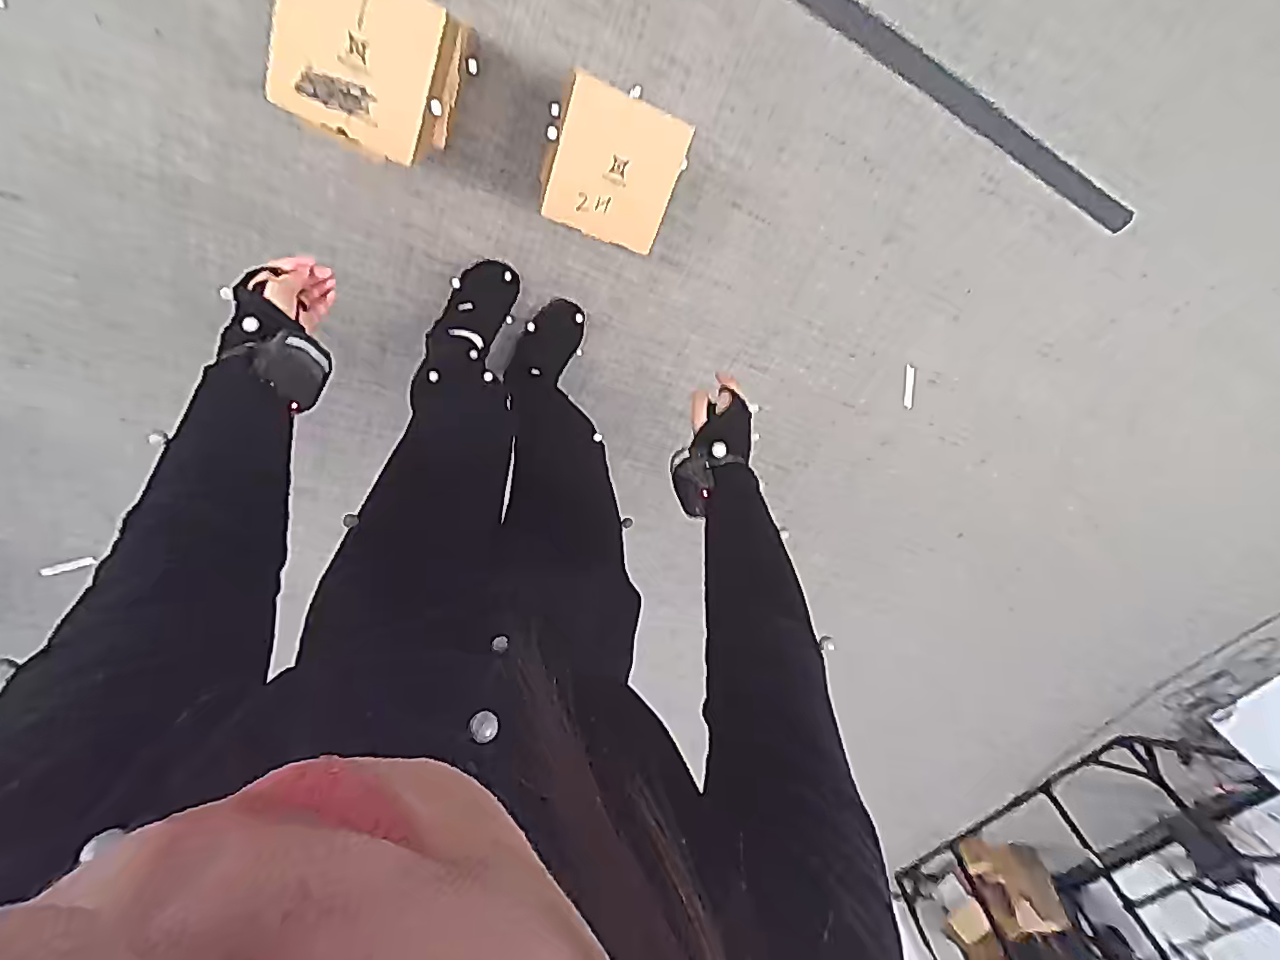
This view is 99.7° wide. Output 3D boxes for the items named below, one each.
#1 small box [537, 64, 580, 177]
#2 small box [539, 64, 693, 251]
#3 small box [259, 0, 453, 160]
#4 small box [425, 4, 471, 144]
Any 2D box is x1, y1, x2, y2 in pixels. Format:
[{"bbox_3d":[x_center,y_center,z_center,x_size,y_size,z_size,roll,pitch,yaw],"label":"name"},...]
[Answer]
[{"bbox_3d":[-0.066,-0.573,0.916,0.179,0.176,0.168,15,122,-22],"label":"small box"},{"bbox_3d":[-0.047,-0.469,0.788,0.168,0.176,0.179,14,124,-19],"label":"small box"},{"bbox_3d":[-0.343,-0.540,0.677,0.168,0.176,0.179,17,121,-23],"label":"small box"},{"bbox_3d":[-0.361,-0.638,0.808,0.179,0.176,0.168,15,123,-21],"label":"small box"}]
